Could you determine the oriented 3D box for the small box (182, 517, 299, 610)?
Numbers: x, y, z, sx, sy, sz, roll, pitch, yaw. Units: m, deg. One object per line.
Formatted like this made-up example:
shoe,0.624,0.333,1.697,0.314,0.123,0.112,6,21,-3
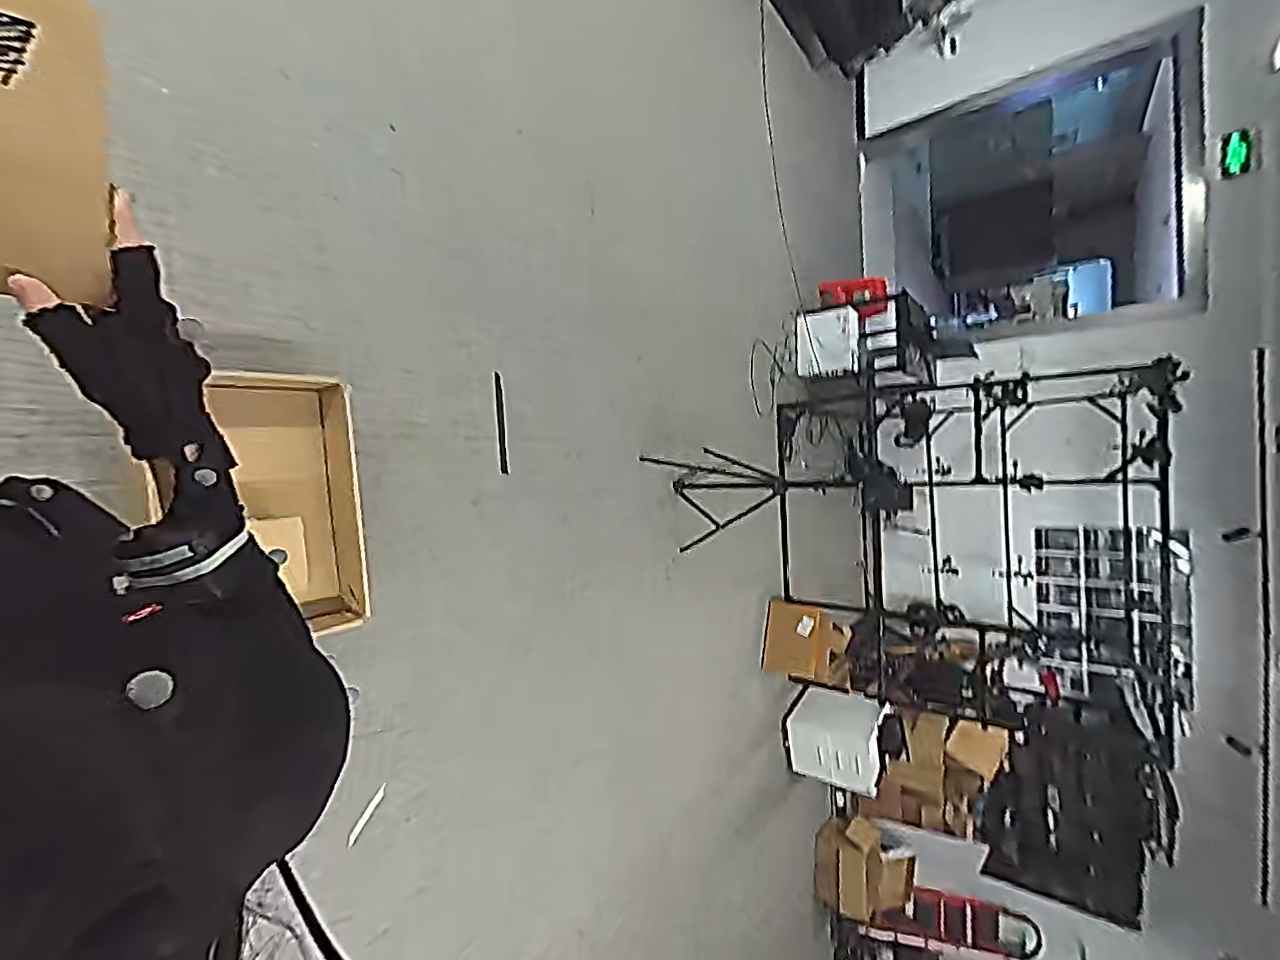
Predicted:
small box,-0.892,0.178,1.207,0.168,0.176,0.179,-7,93,-54
